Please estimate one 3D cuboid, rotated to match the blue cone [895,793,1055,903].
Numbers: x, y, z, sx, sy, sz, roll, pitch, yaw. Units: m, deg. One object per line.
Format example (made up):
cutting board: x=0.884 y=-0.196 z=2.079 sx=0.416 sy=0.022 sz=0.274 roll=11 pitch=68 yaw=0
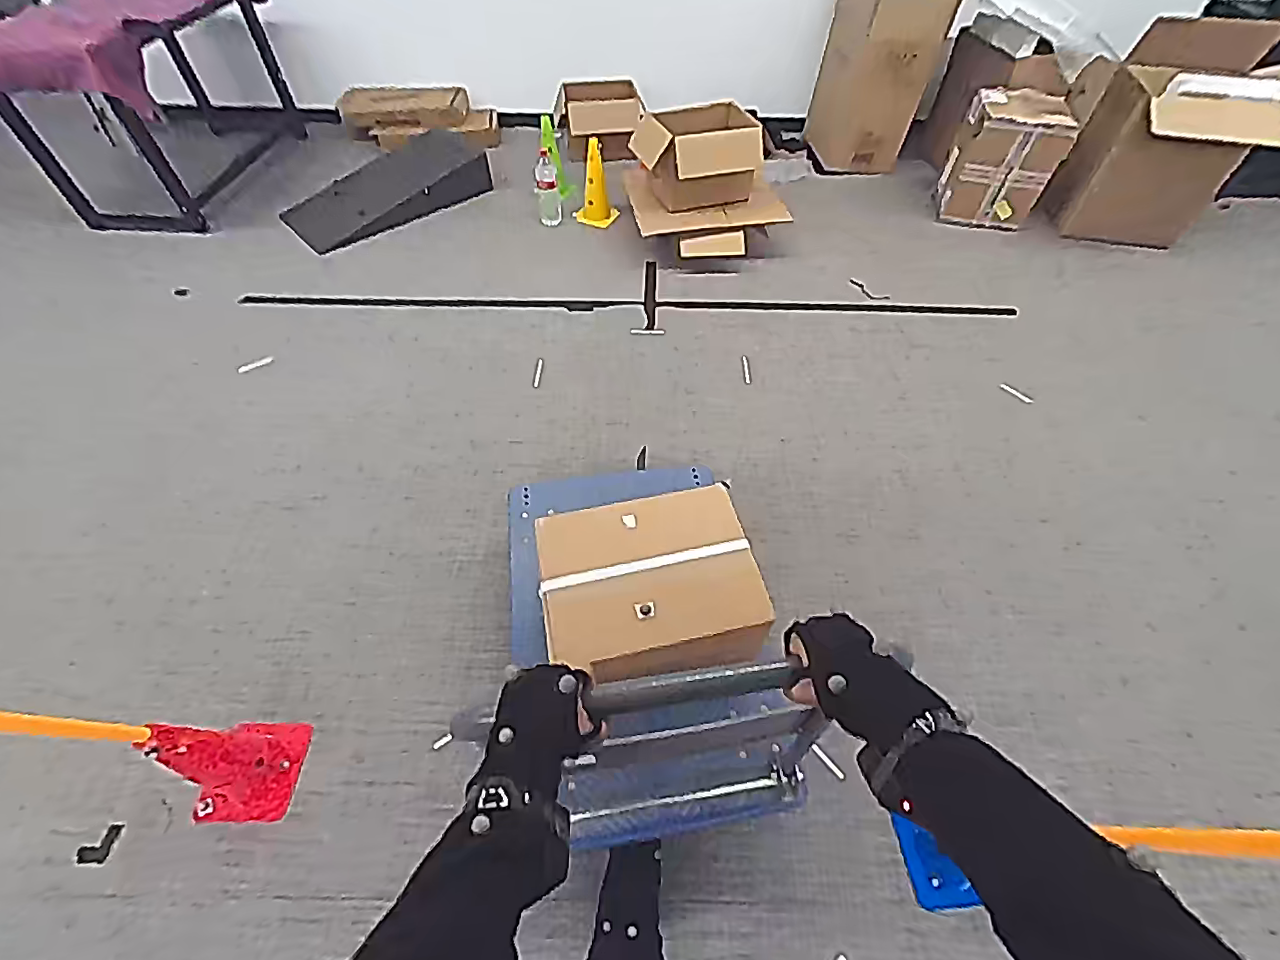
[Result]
blue cone: x=0.667 y=0.685 z=1.033 sx=0.193 sy=0.380 sz=0.192 roll=-1 pitch=52 yaw=-3
